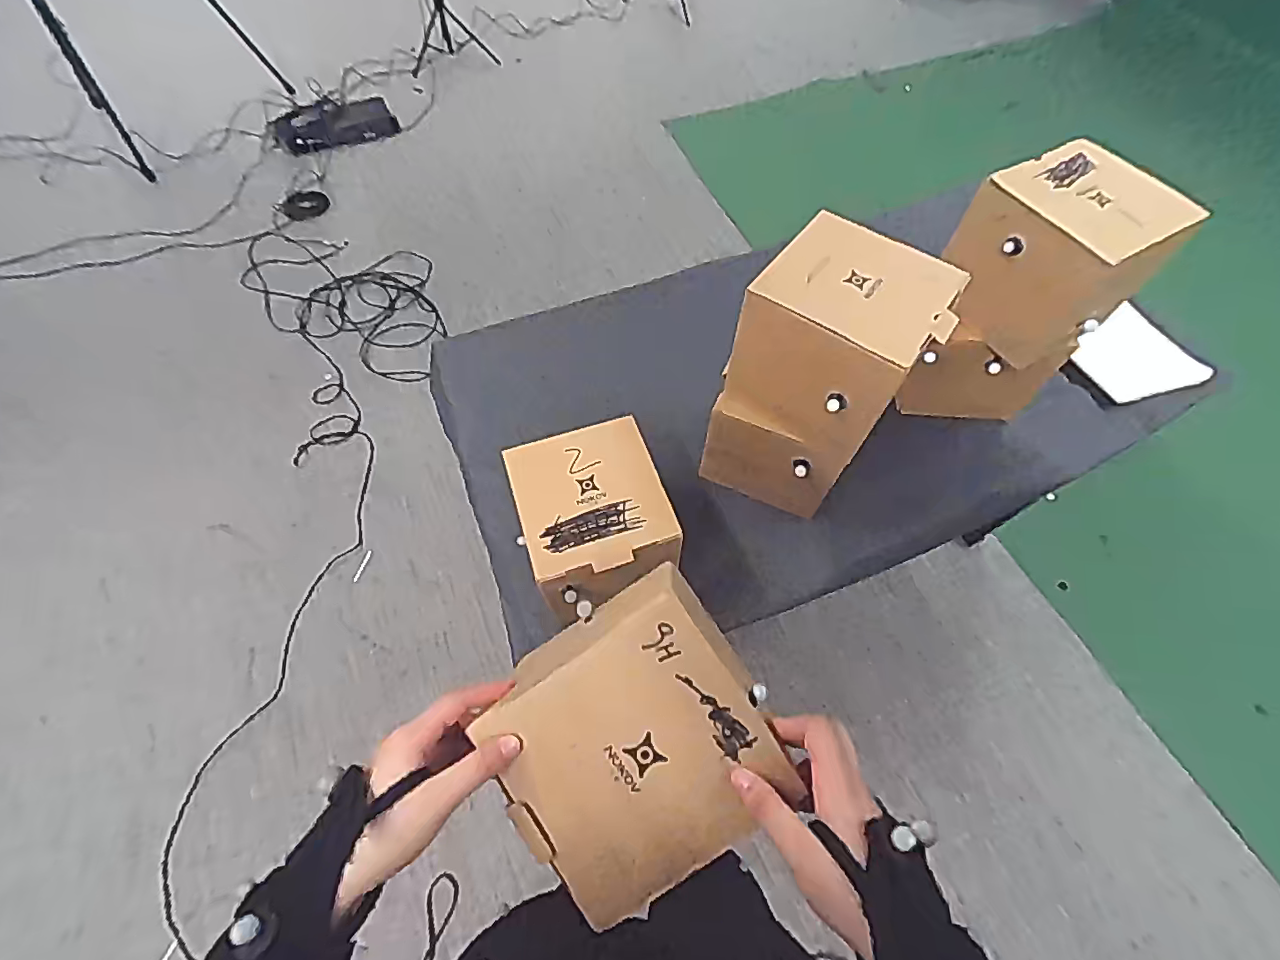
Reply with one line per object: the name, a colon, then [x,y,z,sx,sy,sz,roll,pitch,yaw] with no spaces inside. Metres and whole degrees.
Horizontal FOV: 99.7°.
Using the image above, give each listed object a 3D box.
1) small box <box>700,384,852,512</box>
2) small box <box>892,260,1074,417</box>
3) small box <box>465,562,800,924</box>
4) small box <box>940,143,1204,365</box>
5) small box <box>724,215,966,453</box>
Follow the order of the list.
small box: [0.198,-0.076,0.757,0.179,0.176,0.168,22,62,12]
small box: [0.504,-0.212,0.835,0.179,0.176,0.168,4,61,3]
small box: [-0.001,0.187,0.443,0.179,0.176,0.168,-35,87,2]
small box: [0.513,-0.281,0.685,0.168,0.176,0.179,-27,64,-13]
small box: [0.218,-0.155,0.616,0.179,0.176,0.168,33,65,17]
